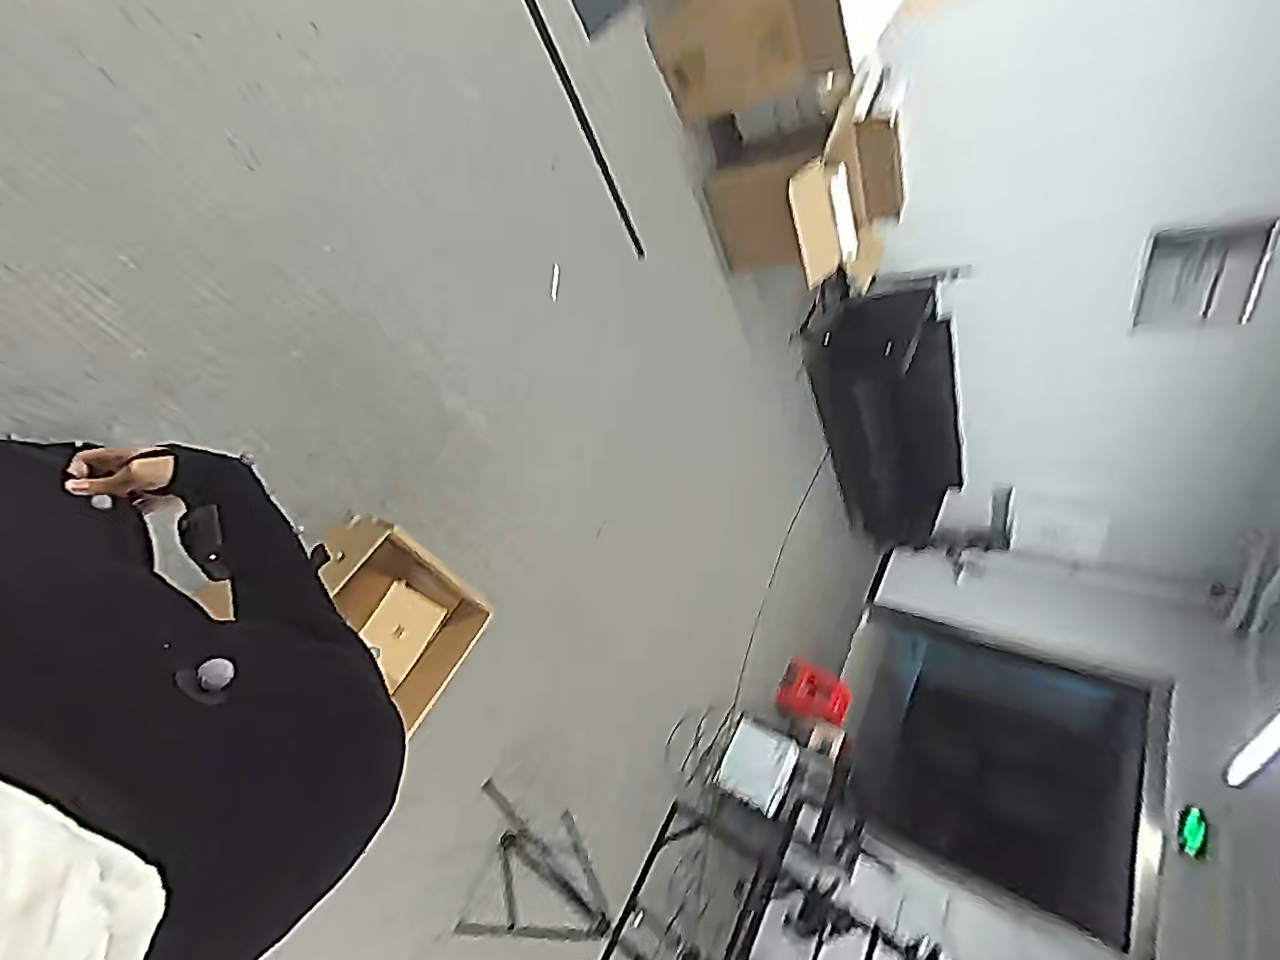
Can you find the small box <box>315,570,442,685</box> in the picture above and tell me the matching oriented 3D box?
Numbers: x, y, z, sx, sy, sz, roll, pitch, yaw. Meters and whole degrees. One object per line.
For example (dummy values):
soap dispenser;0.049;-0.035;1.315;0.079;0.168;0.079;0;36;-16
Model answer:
small box;-0.597;0.329;1.224;0.179;0.176;0.168;-61;139;-24
